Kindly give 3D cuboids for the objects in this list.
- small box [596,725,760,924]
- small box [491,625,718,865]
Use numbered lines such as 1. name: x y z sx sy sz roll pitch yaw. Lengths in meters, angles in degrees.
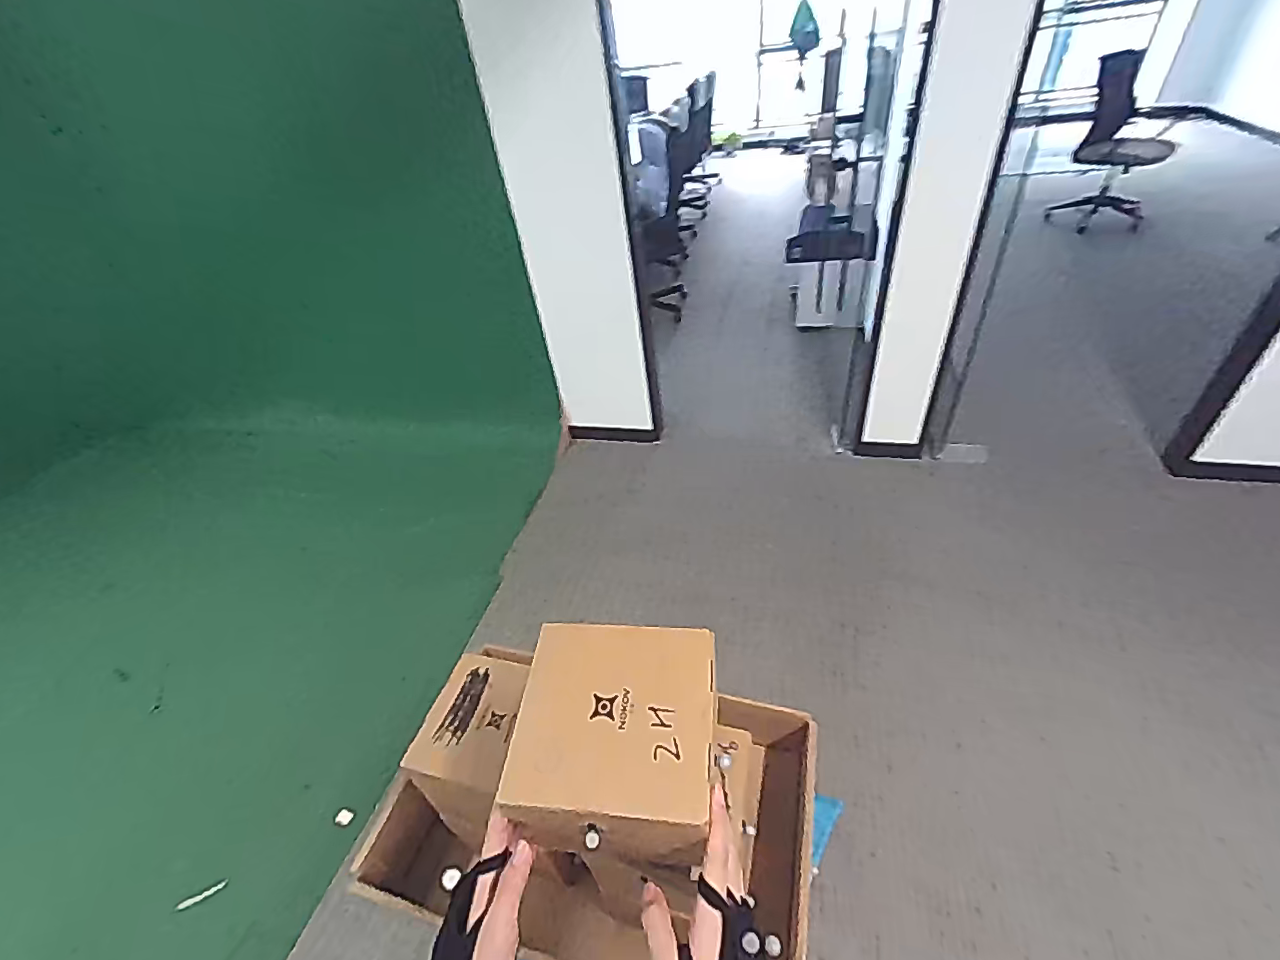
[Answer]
1. small box: 0.050 0.416 0.674 0.179 0.176 0.168 3 42 18
2. small box: -0.017 0.262 0.536 0.179 0.176 0.168 -1 46 11
